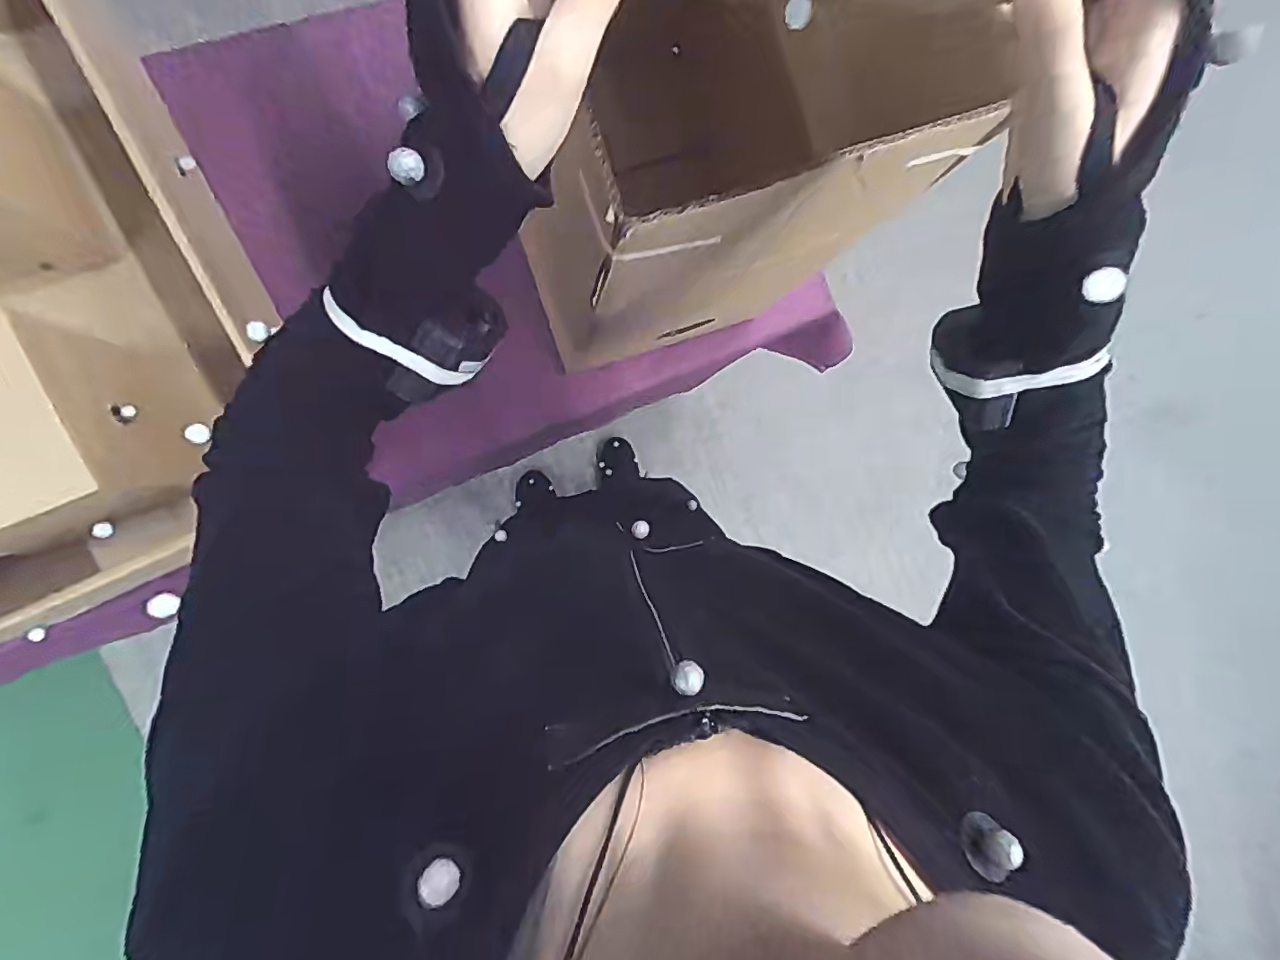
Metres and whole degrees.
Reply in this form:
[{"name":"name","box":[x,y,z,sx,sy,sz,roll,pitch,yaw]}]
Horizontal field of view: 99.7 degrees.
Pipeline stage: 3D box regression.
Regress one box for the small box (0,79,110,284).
[{"name":"small box","box":[-0.682,-0.302,0.516,0.168,0.176,0.179,-23,95,-9]}]
